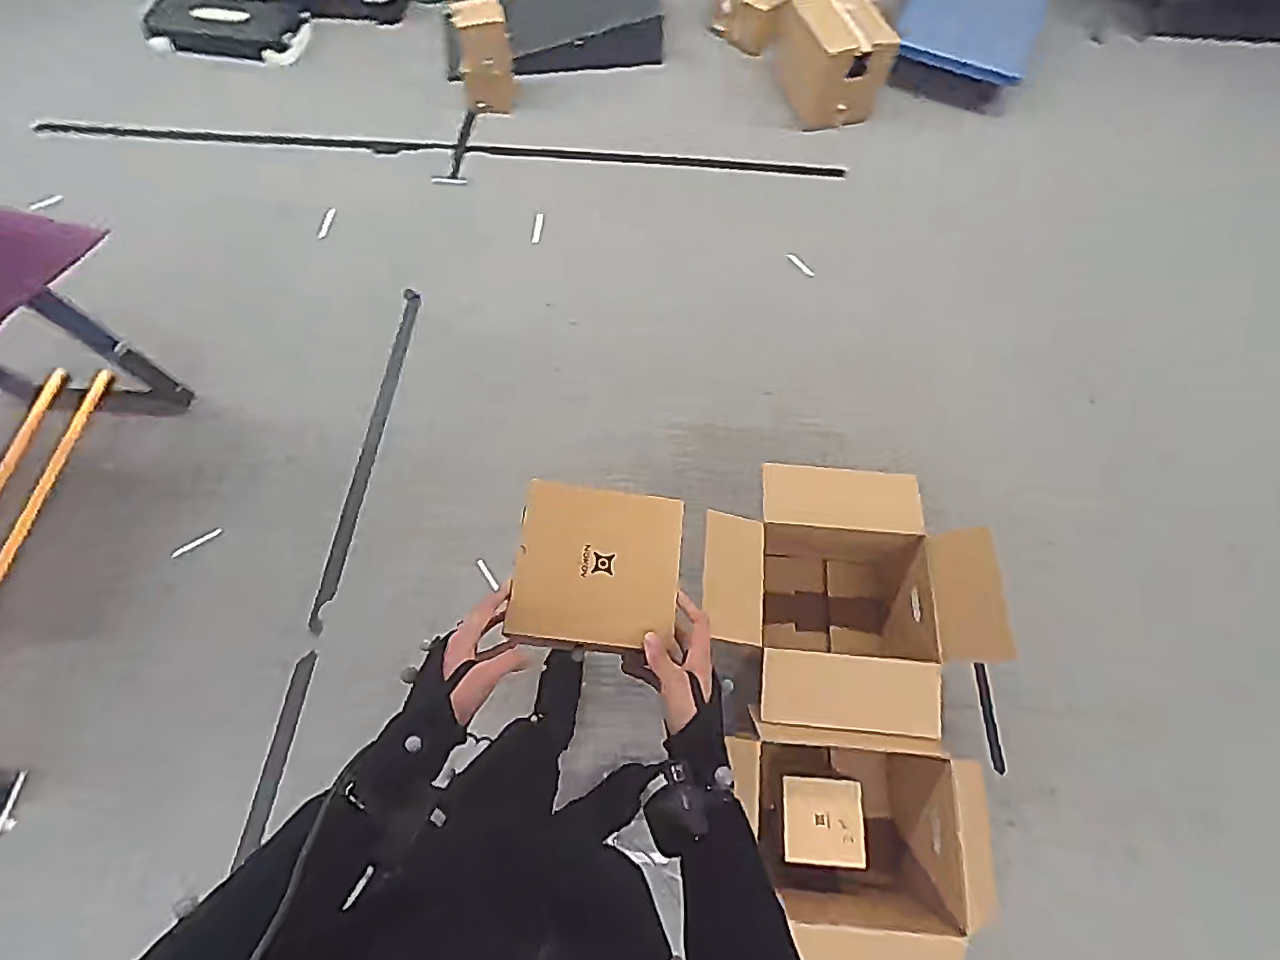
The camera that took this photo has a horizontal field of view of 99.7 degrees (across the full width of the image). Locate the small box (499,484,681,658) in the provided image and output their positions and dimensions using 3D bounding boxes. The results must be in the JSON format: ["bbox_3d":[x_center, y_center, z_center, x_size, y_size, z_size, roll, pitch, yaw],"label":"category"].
[{"bbox_3d":[-0.059,0.118,0.641,0.179,0.176,0.168,8,70,-6],"label":"small box"}]
